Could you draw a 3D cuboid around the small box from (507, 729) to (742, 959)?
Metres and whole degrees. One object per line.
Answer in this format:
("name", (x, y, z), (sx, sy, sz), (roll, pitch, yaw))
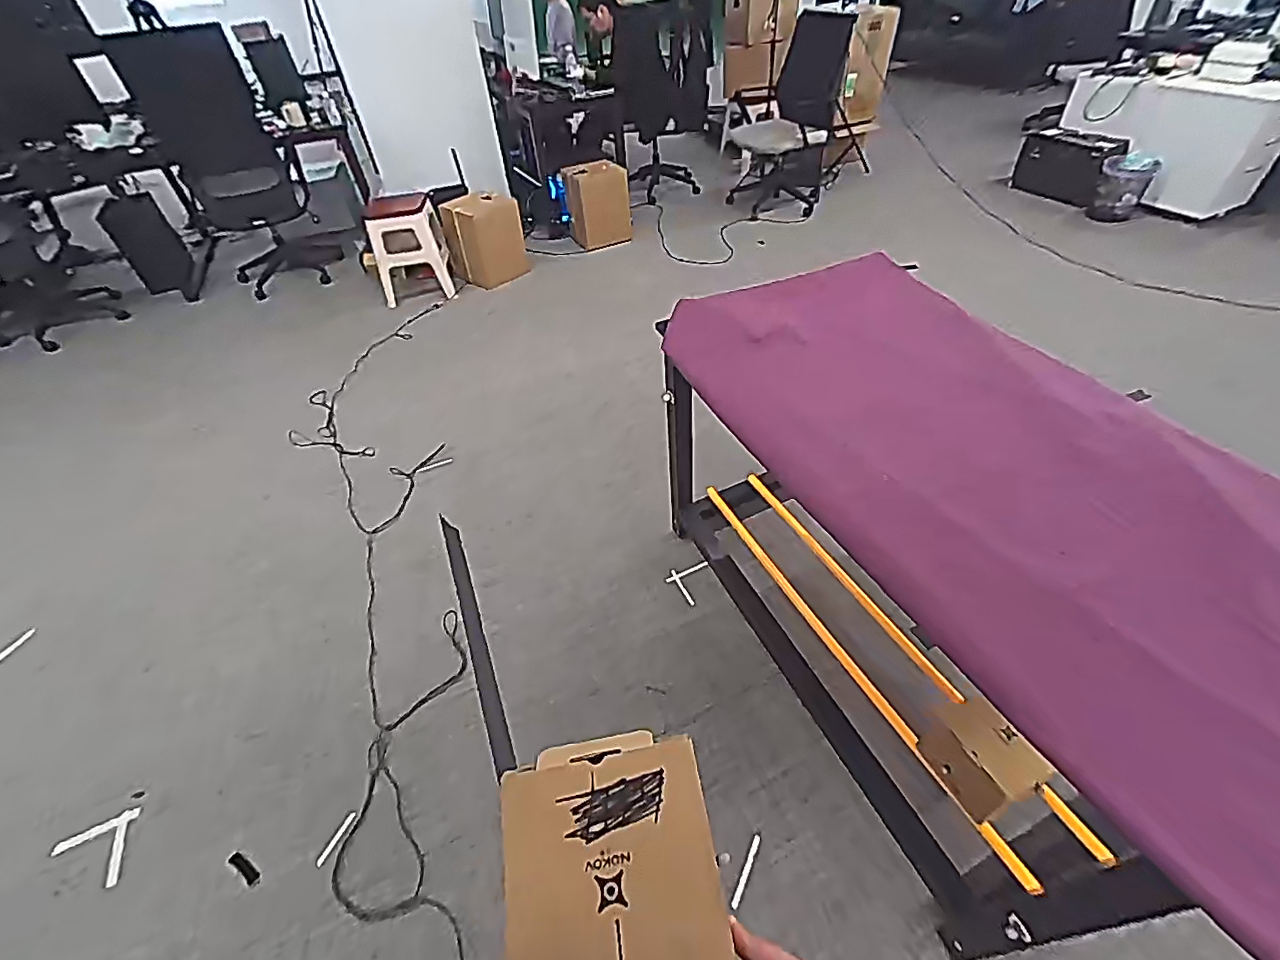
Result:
("small box", (-0.015, 0.342, 0.480), (0.168, 0.176, 0.179), (-10, 57, -2))

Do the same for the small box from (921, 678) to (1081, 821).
("small box", (0.691, 0.528, 1.060), (0.179, 0.176, 0.168), (-22, 46, -14))
